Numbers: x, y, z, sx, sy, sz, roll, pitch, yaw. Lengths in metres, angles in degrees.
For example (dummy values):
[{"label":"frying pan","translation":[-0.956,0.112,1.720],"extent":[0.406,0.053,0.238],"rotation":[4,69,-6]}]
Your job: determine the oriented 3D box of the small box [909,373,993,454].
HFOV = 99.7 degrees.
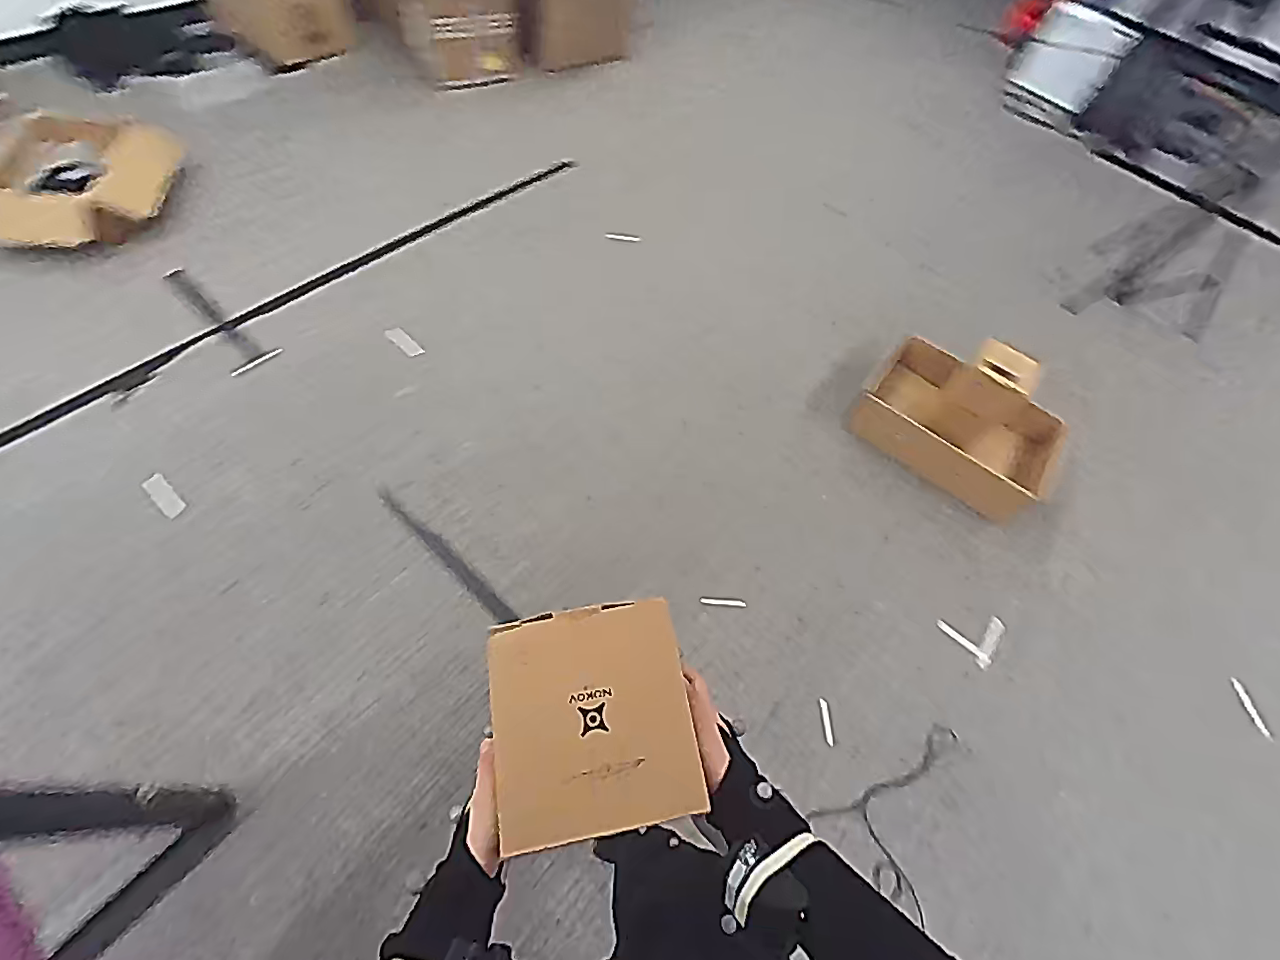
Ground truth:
[{"label":"small box","translation":[1.058,-0.226,1.851],"extent":[0.168,0.176,0.179],"rotation":[34,60,11]}]
